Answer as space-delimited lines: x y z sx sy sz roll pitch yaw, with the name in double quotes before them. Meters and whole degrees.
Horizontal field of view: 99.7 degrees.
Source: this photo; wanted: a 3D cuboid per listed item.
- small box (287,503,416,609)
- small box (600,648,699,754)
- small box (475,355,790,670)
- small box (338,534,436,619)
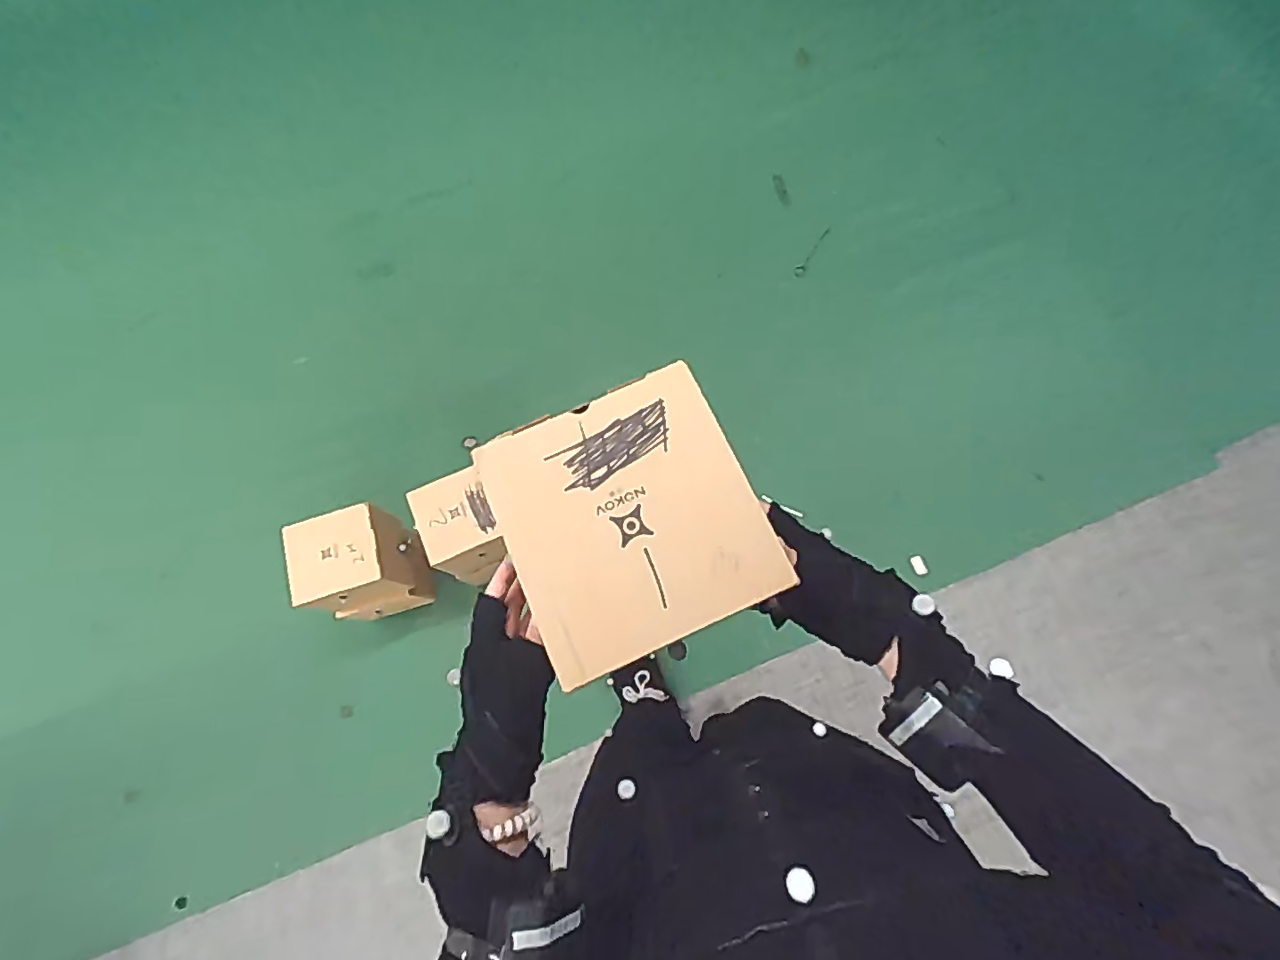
"small box" -0.607 0.169 1.151 0.179 0.176 0.168 -17 73 -5
"small box" 0.021 0.499 1.243 0.179 0.176 0.168 12 85 20
"small box" -0.007 0.036 0.439 0.168 0.176 0.179 -23 75 -3
"small box" -0.612 0.230 1.304 0.168 0.176 0.179 -16 73 -5
